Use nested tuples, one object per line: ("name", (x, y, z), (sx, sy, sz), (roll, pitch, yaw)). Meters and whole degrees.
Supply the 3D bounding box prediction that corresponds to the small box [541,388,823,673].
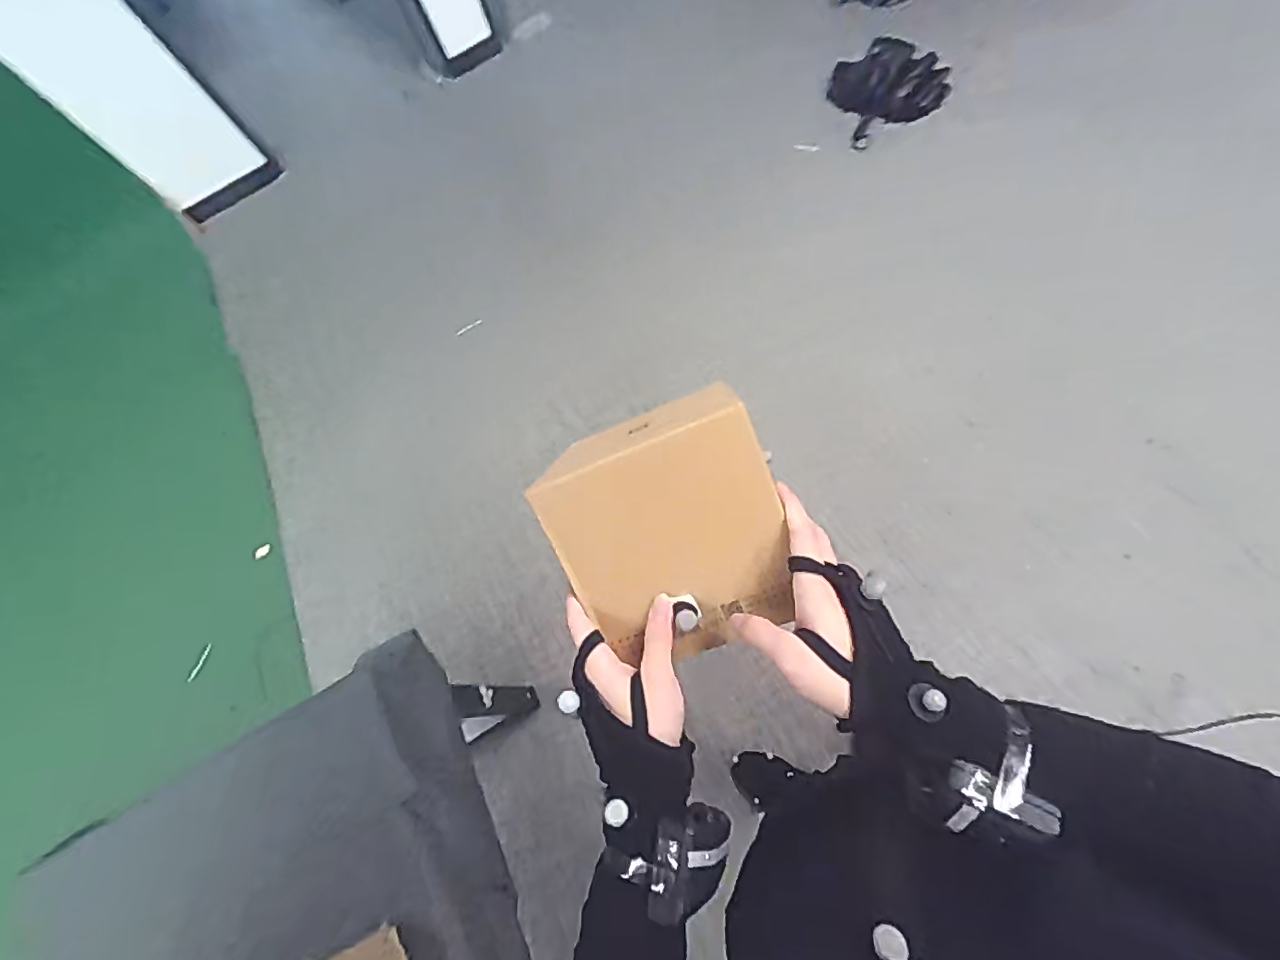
("small box", (0.039, 0.034, 0.476), (0.168, 0.179, 0.176), (-23, 102, 9))
